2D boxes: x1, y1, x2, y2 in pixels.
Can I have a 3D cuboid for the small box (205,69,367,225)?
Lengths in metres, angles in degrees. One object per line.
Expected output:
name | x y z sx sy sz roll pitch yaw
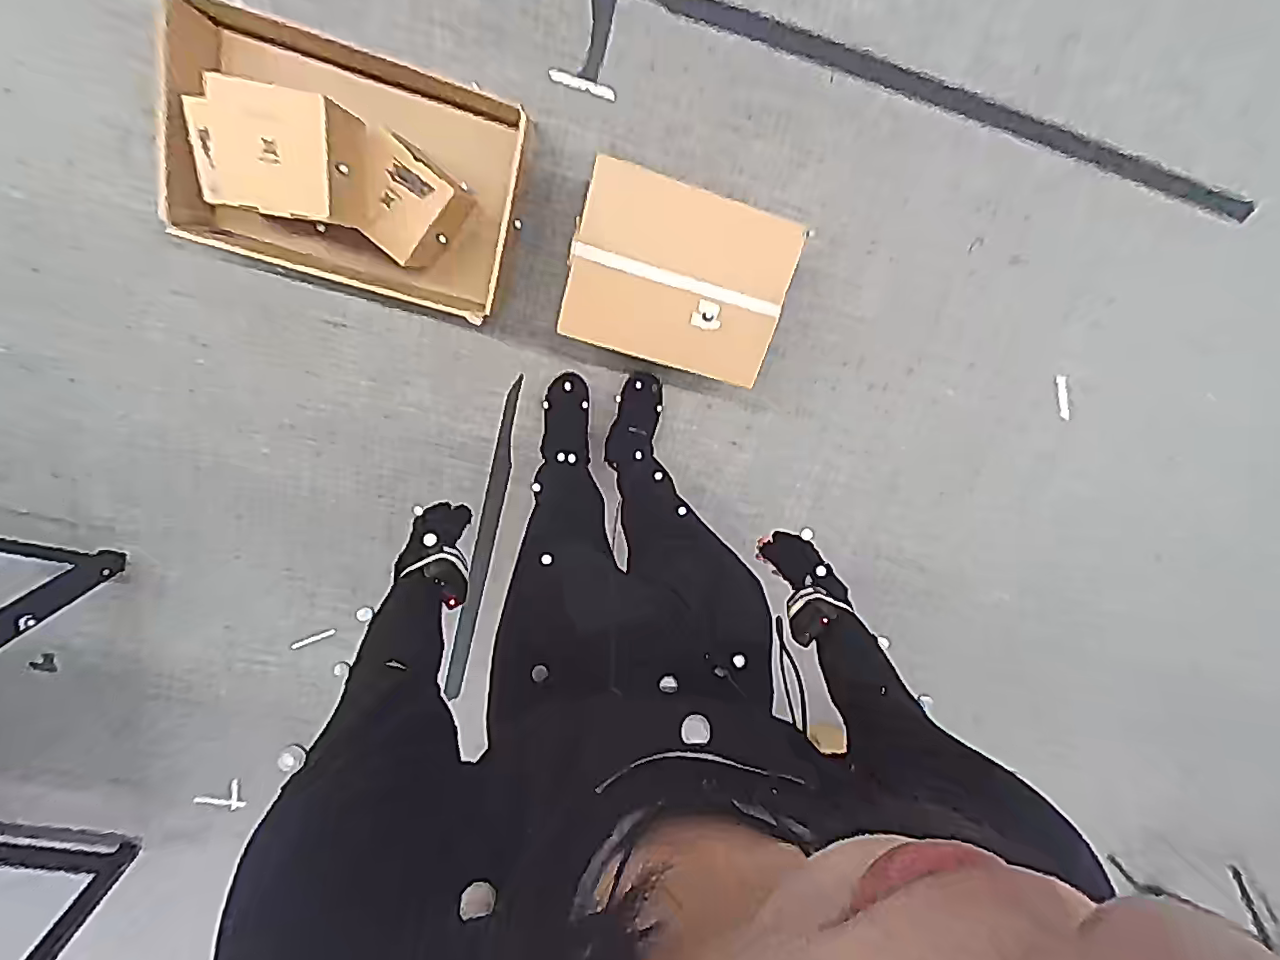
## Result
small box | -0.565 -0.530 0.890 0.168 0.176 0.179 6 109 -8

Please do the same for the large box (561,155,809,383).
large box | 0.066 -0.424 1.134 0.408 0.320 0.320 14 110 -10
